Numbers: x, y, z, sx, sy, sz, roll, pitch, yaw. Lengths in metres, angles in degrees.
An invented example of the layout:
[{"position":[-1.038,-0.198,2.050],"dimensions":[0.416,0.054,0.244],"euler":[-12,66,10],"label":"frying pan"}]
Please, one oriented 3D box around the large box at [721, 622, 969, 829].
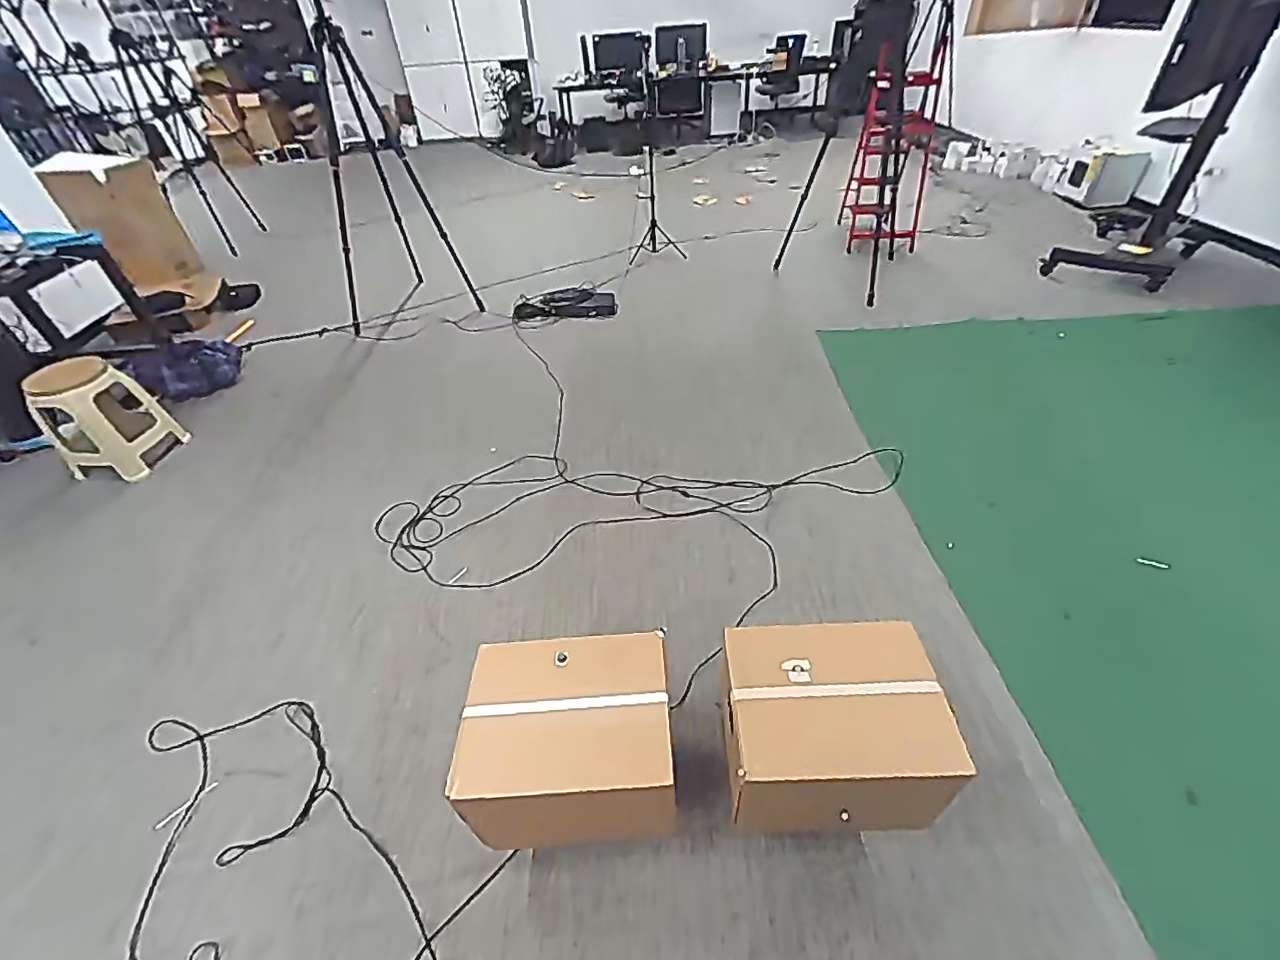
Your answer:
[{"position":[0.397,0.534,1.170],"dimensions":[0.408,0.320,0.320],"euler":[-3,42,3],"label":"large box"}]
